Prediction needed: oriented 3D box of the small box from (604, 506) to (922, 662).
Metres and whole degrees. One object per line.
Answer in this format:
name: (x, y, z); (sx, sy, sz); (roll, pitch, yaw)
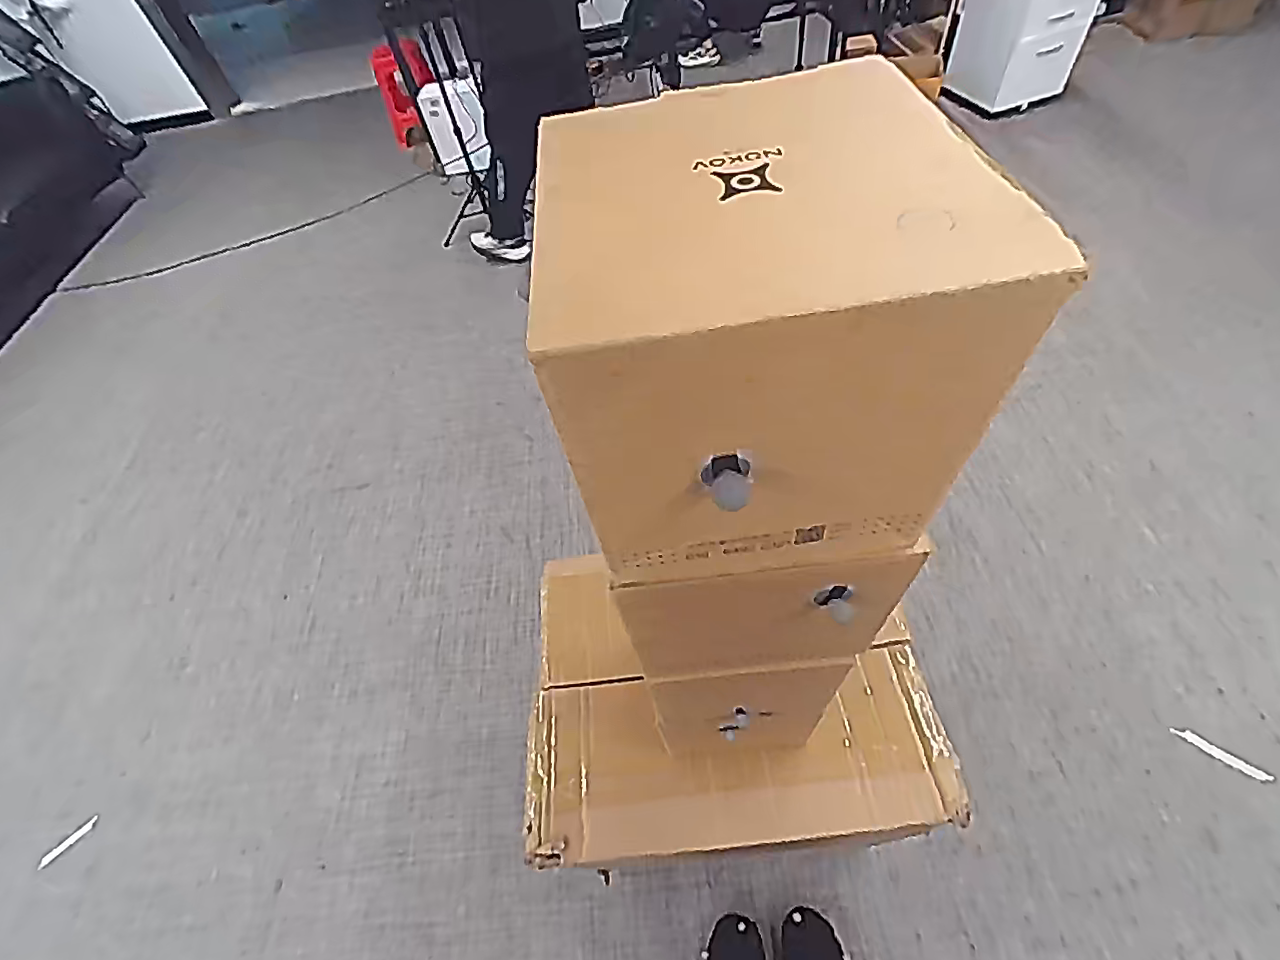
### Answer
small box: (0.071, 0.024, 0.403); (0.179, 0.176, 0.168); (-8, 53, 4)

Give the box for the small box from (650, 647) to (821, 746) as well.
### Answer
small box: (0.107, 0.219, 0.666); (0.179, 0.176, 0.168); (-7, 54, 4)

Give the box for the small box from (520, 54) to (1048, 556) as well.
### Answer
small box: (0.046, -0.074, 0.276); (0.168, 0.176, 0.179); (-9, 53, 3)
